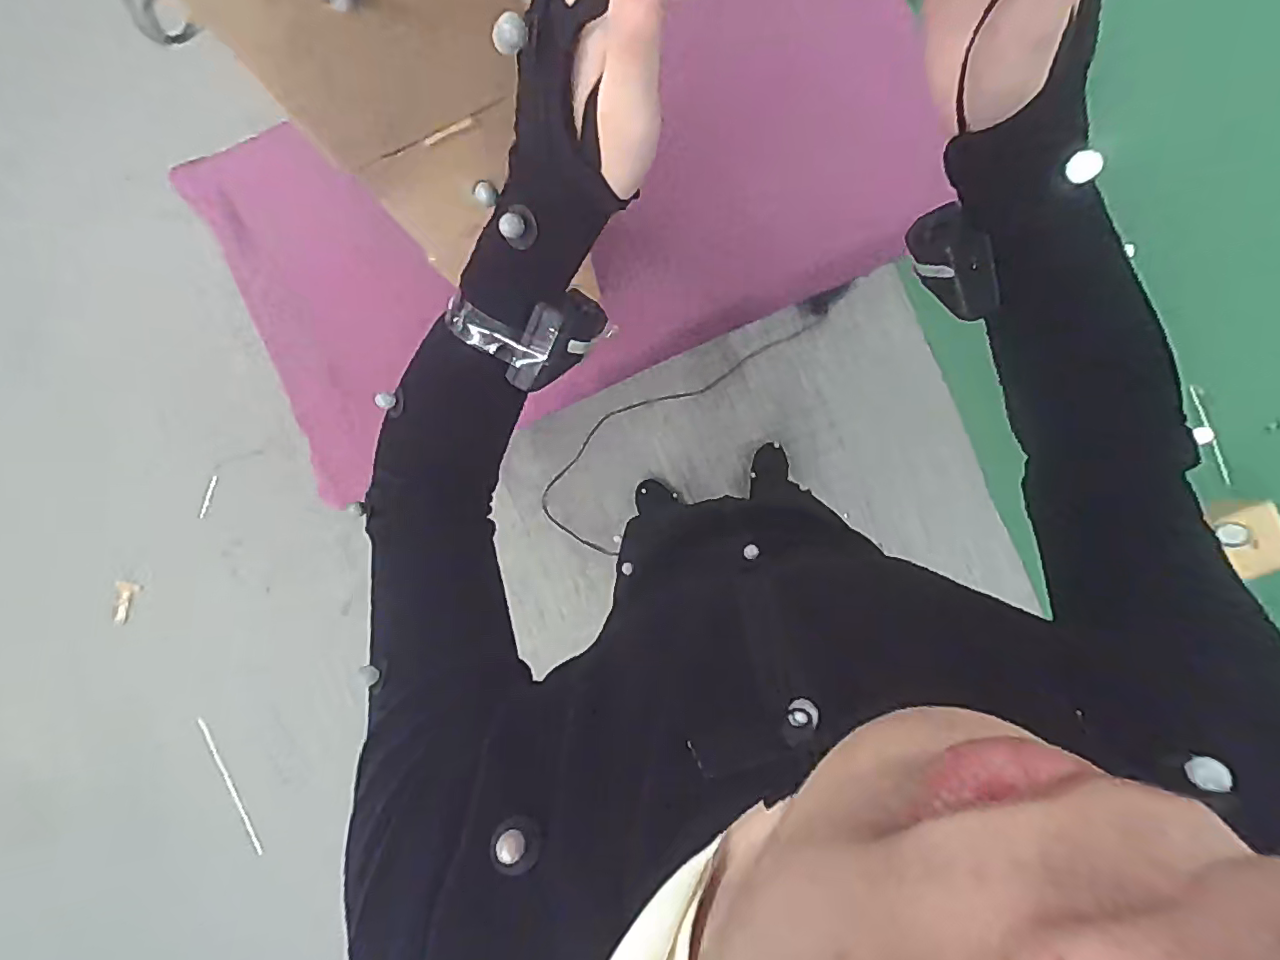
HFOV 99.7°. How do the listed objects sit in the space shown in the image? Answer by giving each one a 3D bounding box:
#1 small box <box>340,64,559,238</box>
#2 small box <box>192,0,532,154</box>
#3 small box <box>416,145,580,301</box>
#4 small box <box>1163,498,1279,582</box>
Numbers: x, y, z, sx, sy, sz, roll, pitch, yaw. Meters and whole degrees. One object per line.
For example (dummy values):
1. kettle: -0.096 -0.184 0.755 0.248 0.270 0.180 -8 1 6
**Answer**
1. small box: -0.190 -0.354 0.502 0.168 0.176 0.179 -25 90 1
2. small box: -0.191 -0.351 0.338 0.179 0.176 0.168 -26 89 0
3. small box: -0.183 -0.349 0.665 0.179 0.176 0.168 -24 90 2
4. small box: 1.634 0.161 1.507 0.168 0.176 0.179 -21 91 2
